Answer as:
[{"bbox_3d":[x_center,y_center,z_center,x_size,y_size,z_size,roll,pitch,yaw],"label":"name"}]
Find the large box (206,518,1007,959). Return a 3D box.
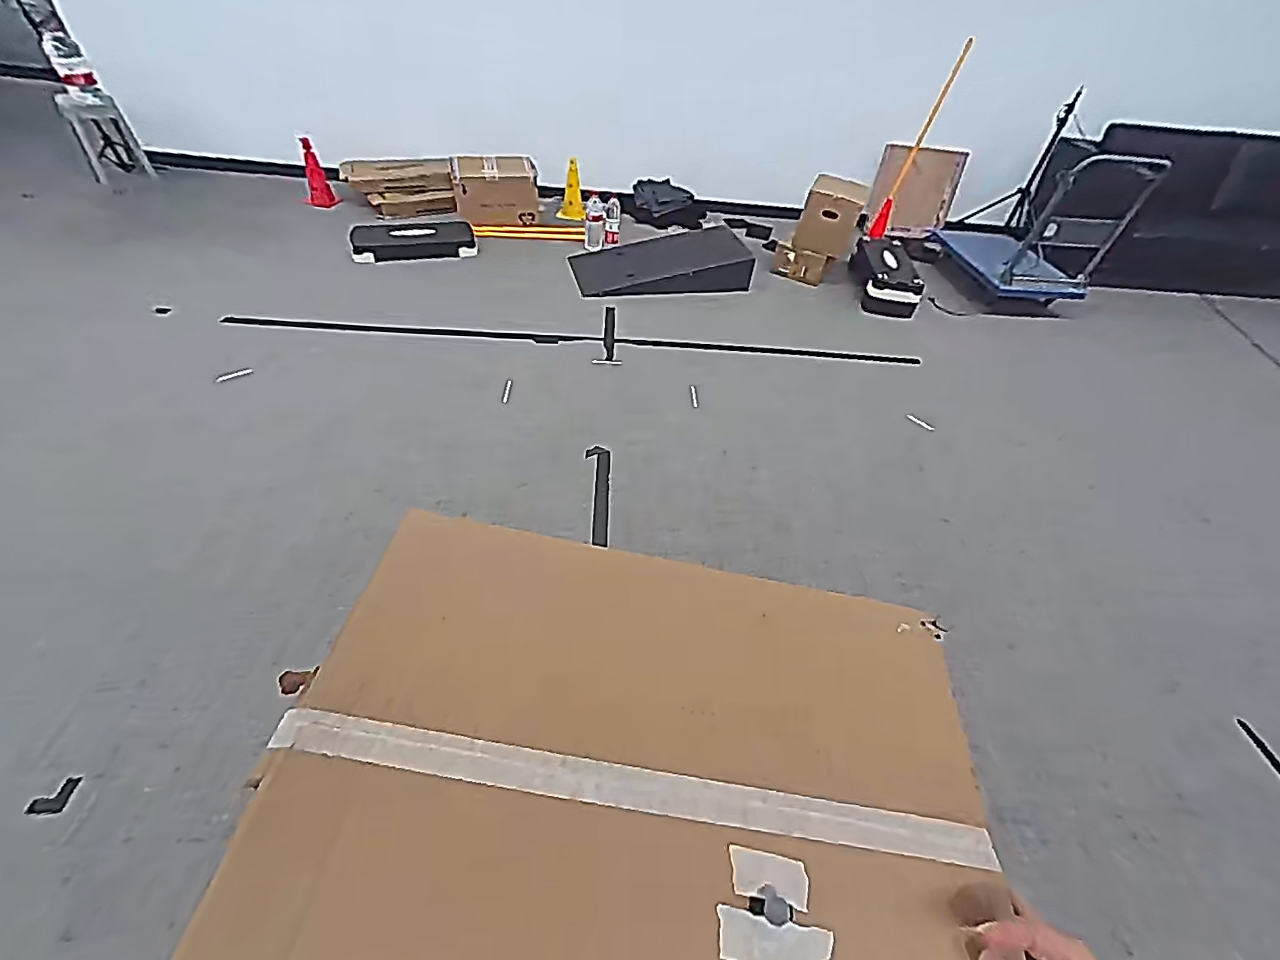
[{"bbox_3d":[-0.017,0.274,0.430,0.408,0.320,0.320,12,48,-3],"label":"large box"}]
